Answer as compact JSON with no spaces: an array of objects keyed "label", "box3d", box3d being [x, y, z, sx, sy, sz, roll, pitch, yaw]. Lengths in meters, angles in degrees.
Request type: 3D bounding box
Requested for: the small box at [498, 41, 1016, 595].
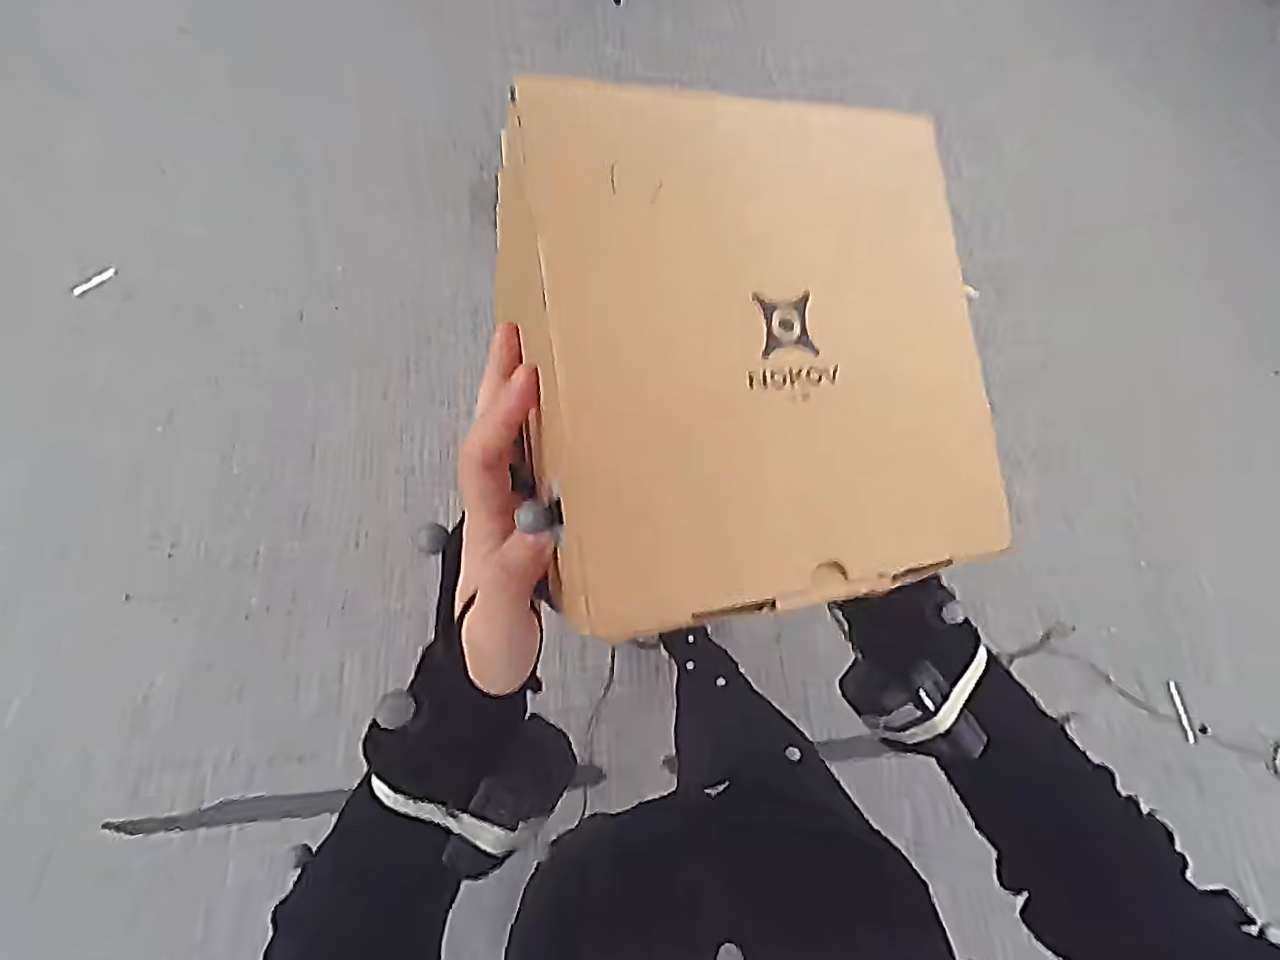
[{"label":"small box","box3d":[0.028,-0.051,0.261,0.168,0.176,0.179,-8,86,-18]}]
